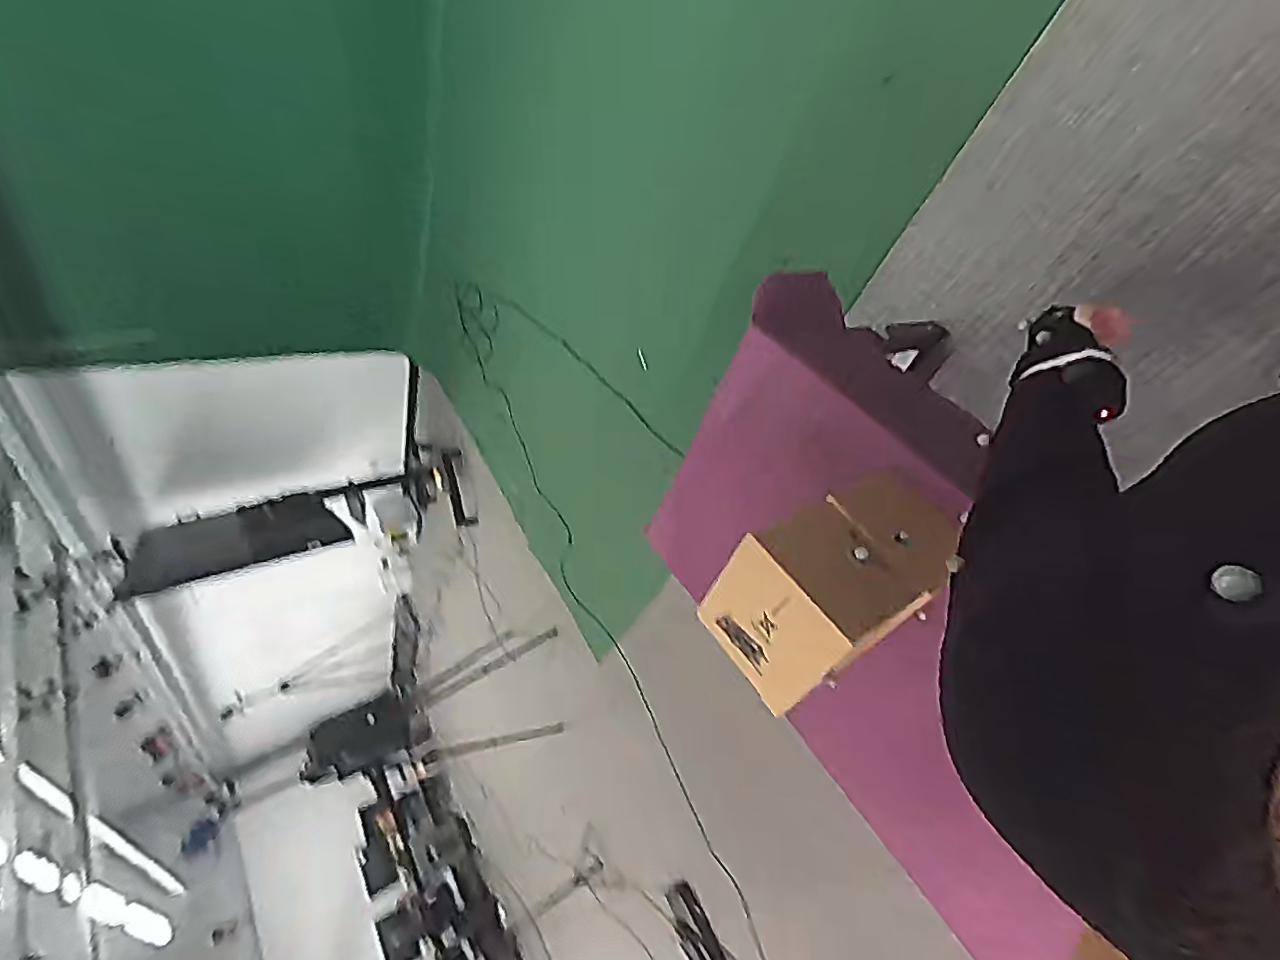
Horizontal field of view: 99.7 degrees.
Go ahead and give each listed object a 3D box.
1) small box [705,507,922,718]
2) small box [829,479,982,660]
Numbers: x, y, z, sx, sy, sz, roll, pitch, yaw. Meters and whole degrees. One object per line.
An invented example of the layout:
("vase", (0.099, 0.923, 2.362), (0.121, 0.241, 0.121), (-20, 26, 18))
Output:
("small box", (0.220, 0.162, 0.694), (0.168, 0.176, 0.179), (49, 136, 29))
("small box", (0.349, 0.121, 0.788), (0.179, 0.176, 0.168), (51, 137, 27))
